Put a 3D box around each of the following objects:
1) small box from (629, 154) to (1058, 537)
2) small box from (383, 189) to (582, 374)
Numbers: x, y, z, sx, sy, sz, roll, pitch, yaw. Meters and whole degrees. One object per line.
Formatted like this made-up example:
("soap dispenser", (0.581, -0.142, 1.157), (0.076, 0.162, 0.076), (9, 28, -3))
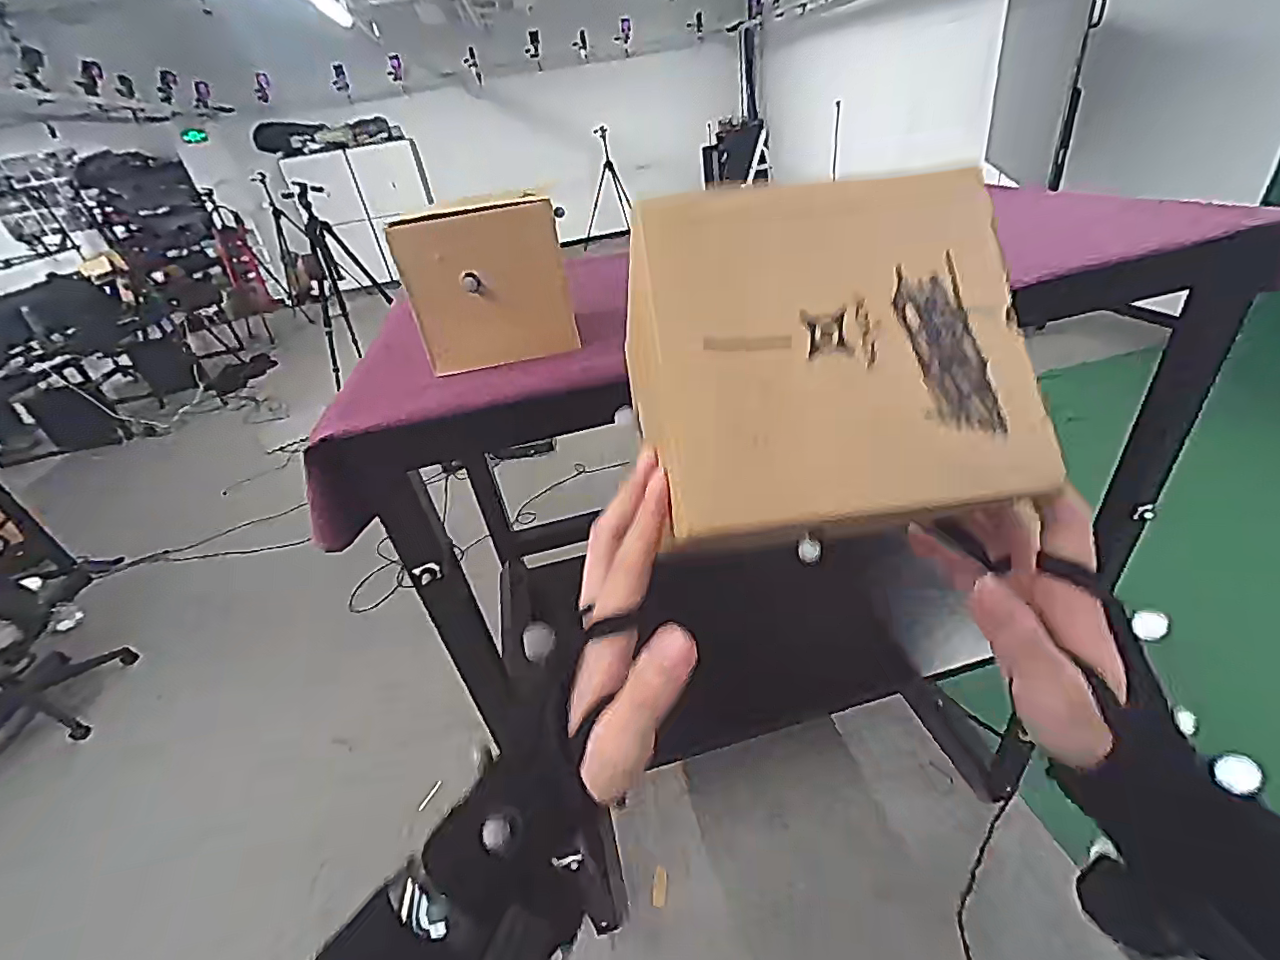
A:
("small box", (0.090, -0.061, 0.329), (0.179, 0.168, 0.176), (-6, -11, -4))
("small box", (-0.178, -0.243, 0.663), (0.179, 0.176, 0.168), (-13, 34, -4))
